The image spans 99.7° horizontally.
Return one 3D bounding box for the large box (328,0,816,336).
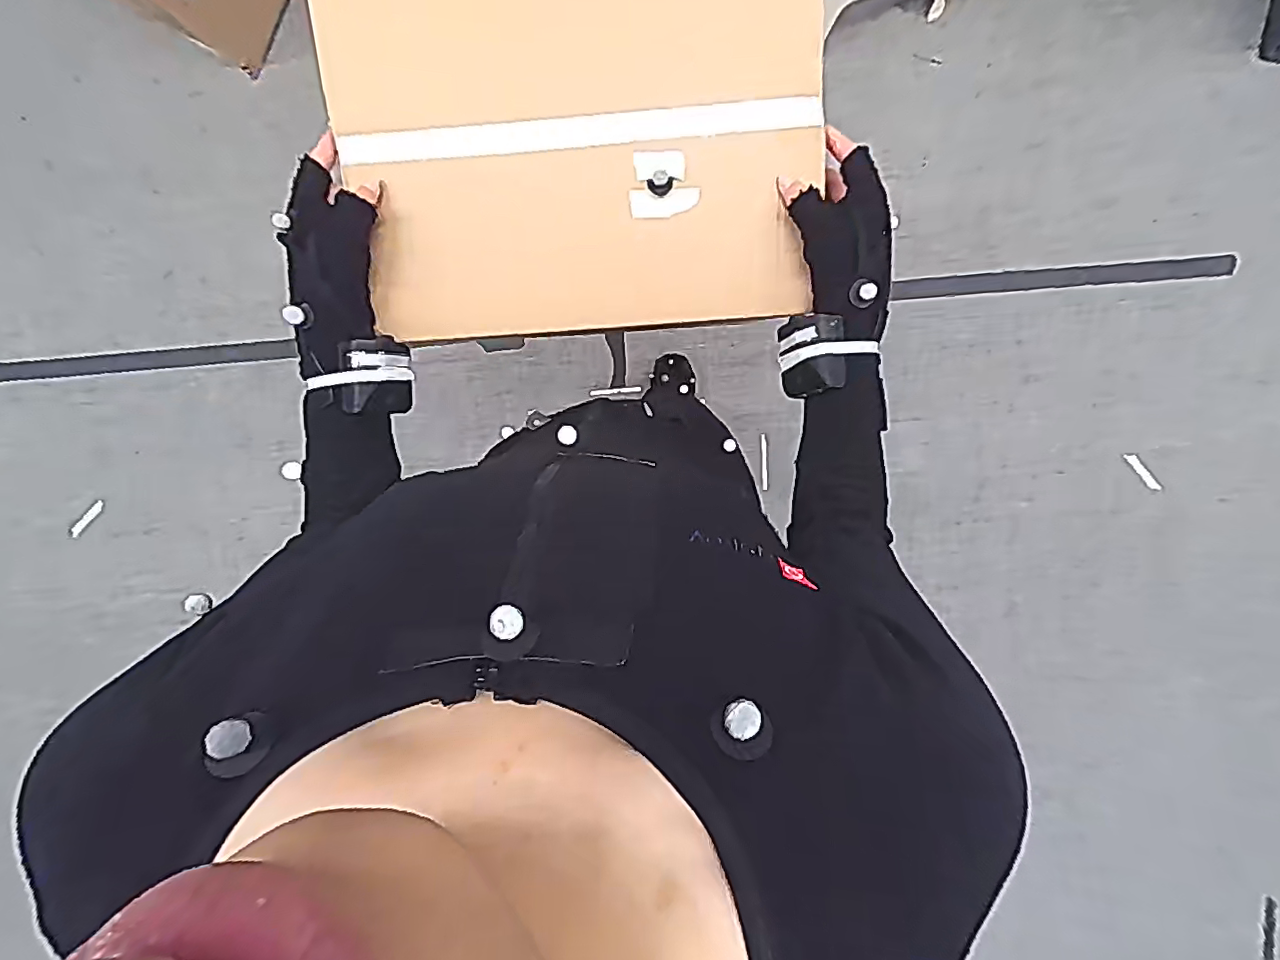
[{"bbox_3d":[-0.050,-0.338,0.606,0.408,0.320,0.320,-4,105,1],"label":"large box"}]
